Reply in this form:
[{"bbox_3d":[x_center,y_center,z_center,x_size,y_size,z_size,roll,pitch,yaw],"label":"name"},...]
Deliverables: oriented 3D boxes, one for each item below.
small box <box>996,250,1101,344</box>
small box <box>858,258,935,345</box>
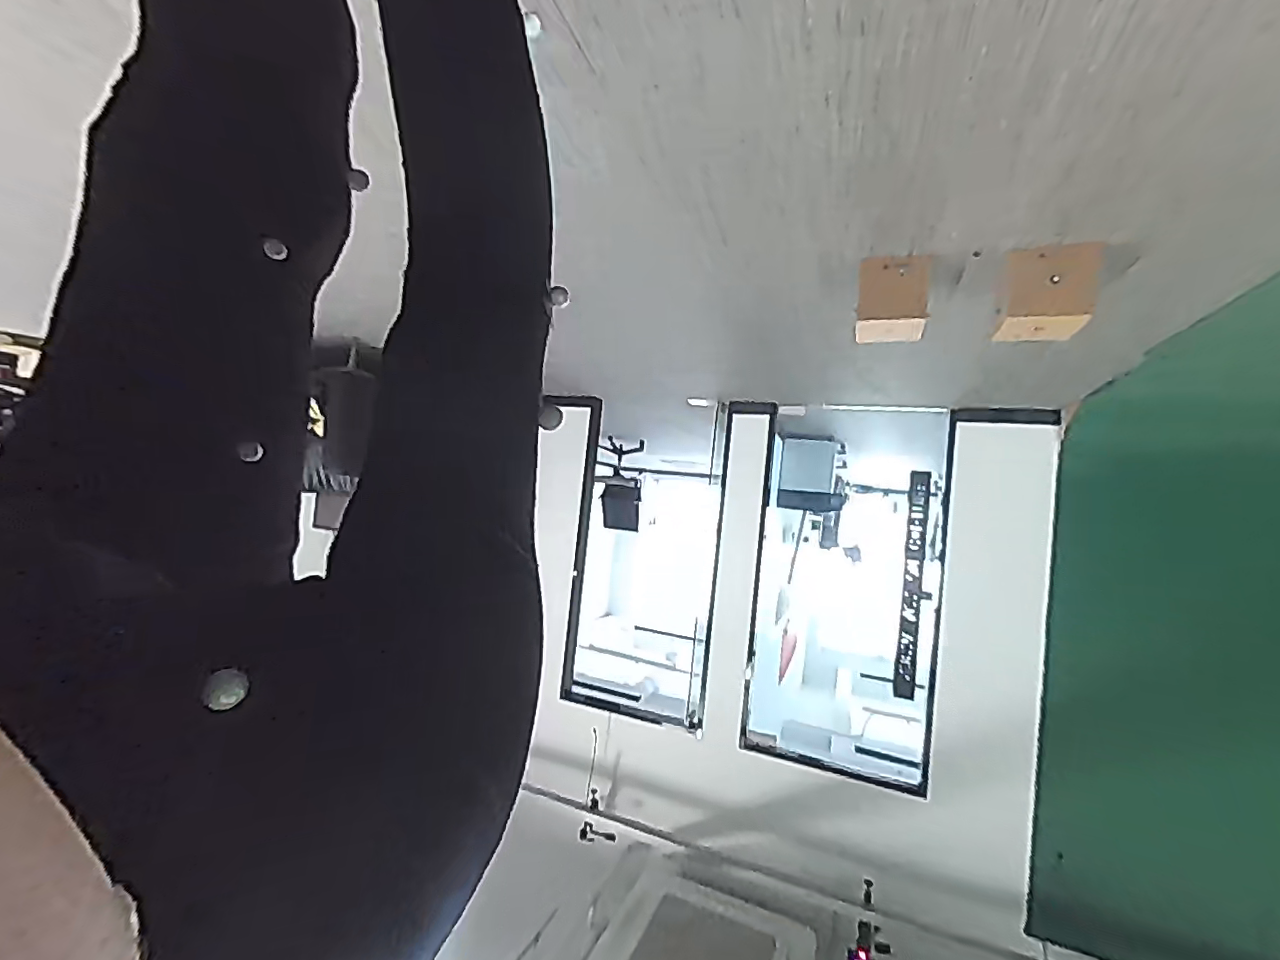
[{"bbox_3d":[0.972,-0.437,1.294,0.168,0.176,0.179,6,178,23],"label":"small box"},{"bbox_3d":[0.671,-0.464,1.424,0.168,0.176,0.179,5,177,23],"label":"small box"}]
